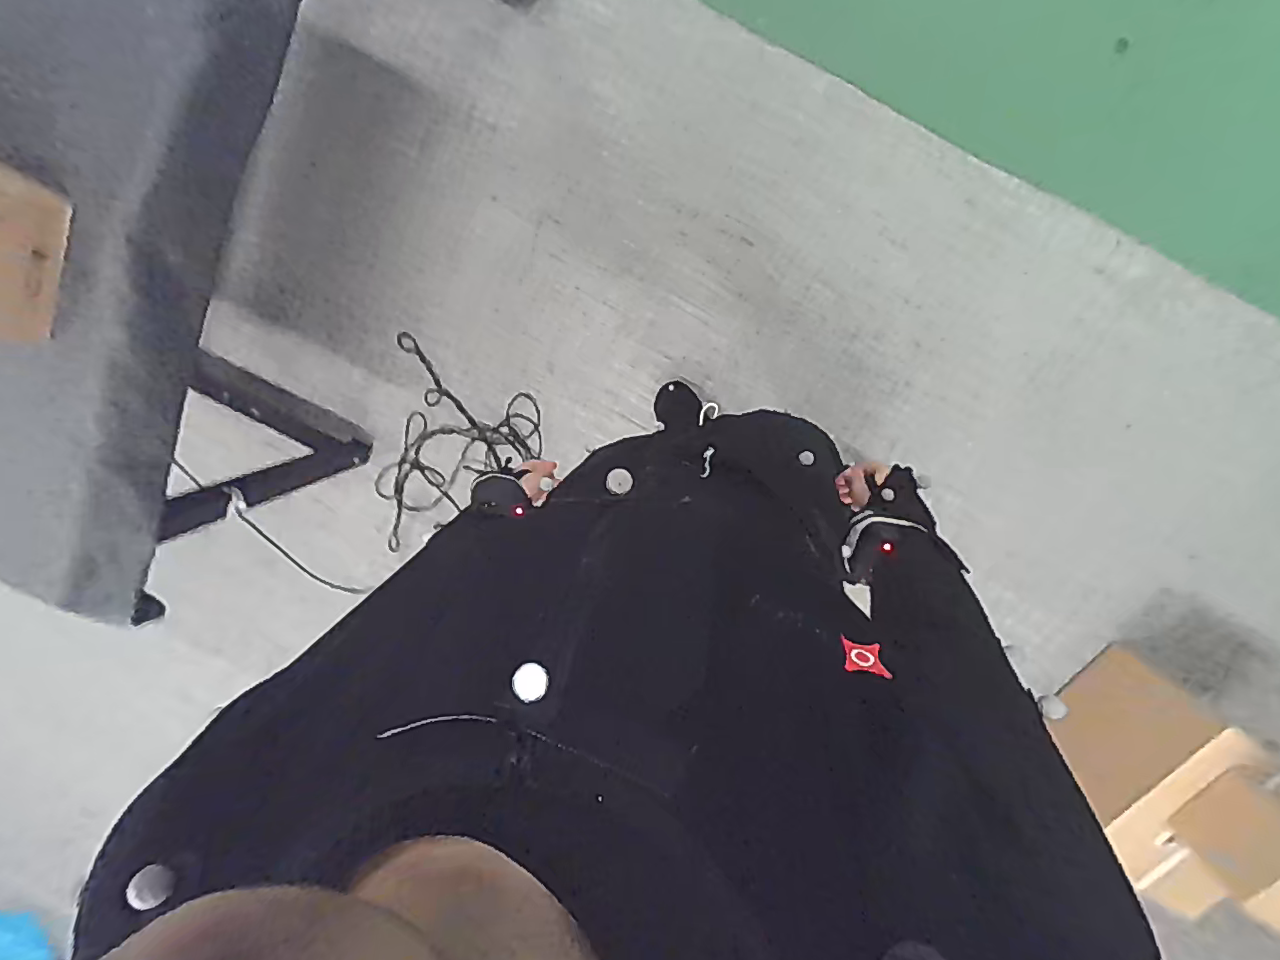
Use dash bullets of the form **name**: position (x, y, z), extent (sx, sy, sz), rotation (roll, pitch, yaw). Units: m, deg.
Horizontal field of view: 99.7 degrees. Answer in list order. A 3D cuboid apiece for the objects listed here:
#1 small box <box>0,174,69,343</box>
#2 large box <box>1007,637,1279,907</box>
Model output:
- **small box**: position (-0.728, -0.242, 0.524), extent (0.179, 0.176, 0.168), rotation (28, 104, -1)
- **large box**: position (1.192, 0.658, 1.261), extent (0.320, 0.320, 0.408), rotation (32, 107, -3)
